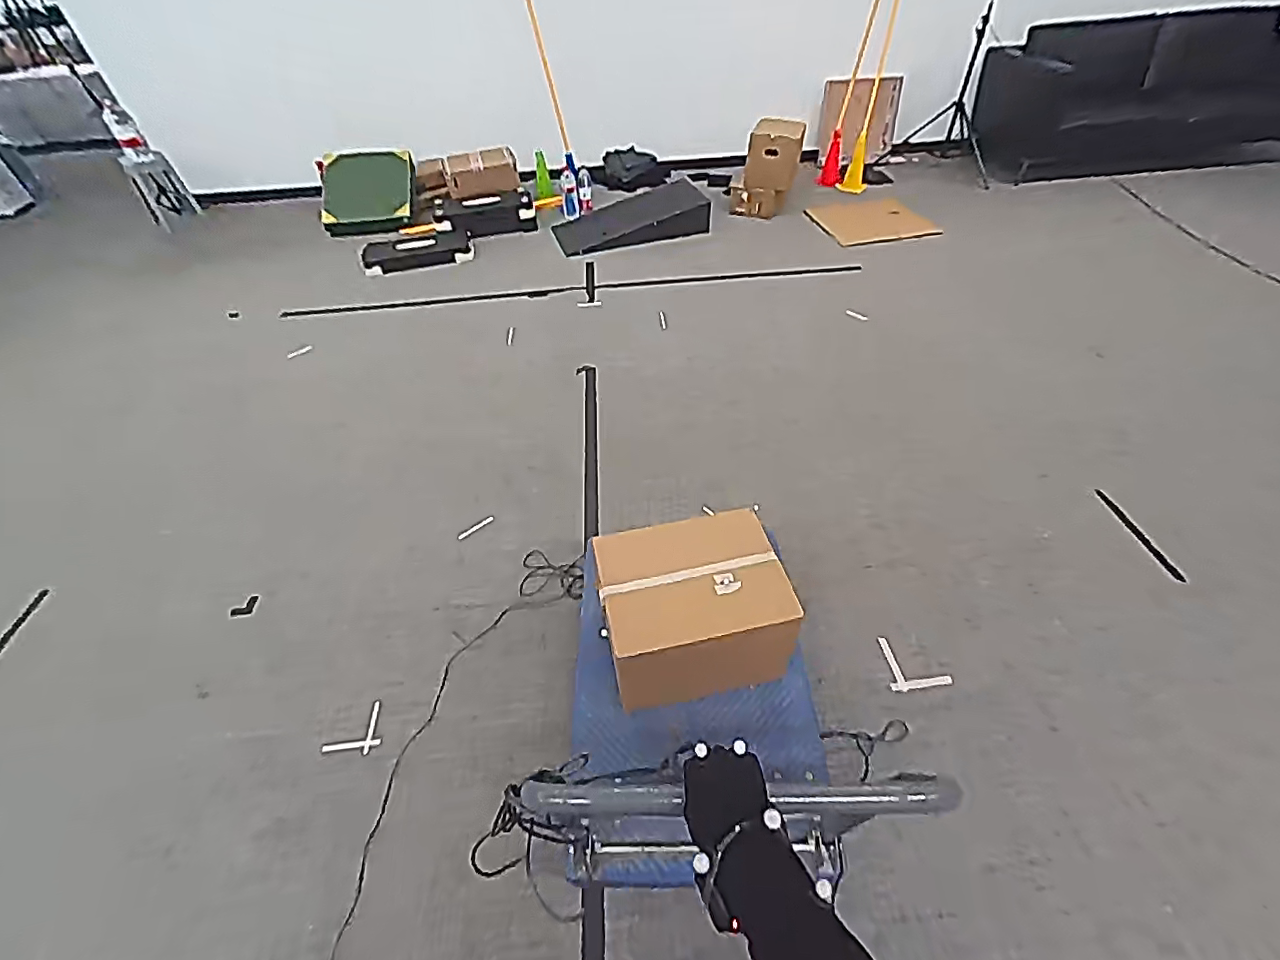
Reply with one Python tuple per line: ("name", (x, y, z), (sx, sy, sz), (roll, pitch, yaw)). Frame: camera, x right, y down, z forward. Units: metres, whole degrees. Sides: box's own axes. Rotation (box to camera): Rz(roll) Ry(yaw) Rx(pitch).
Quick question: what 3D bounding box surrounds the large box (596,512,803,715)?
("large box", (0.122, 0.322, 1.312), (0.408, 0.320, 0.320), (-10, 47, -7))
